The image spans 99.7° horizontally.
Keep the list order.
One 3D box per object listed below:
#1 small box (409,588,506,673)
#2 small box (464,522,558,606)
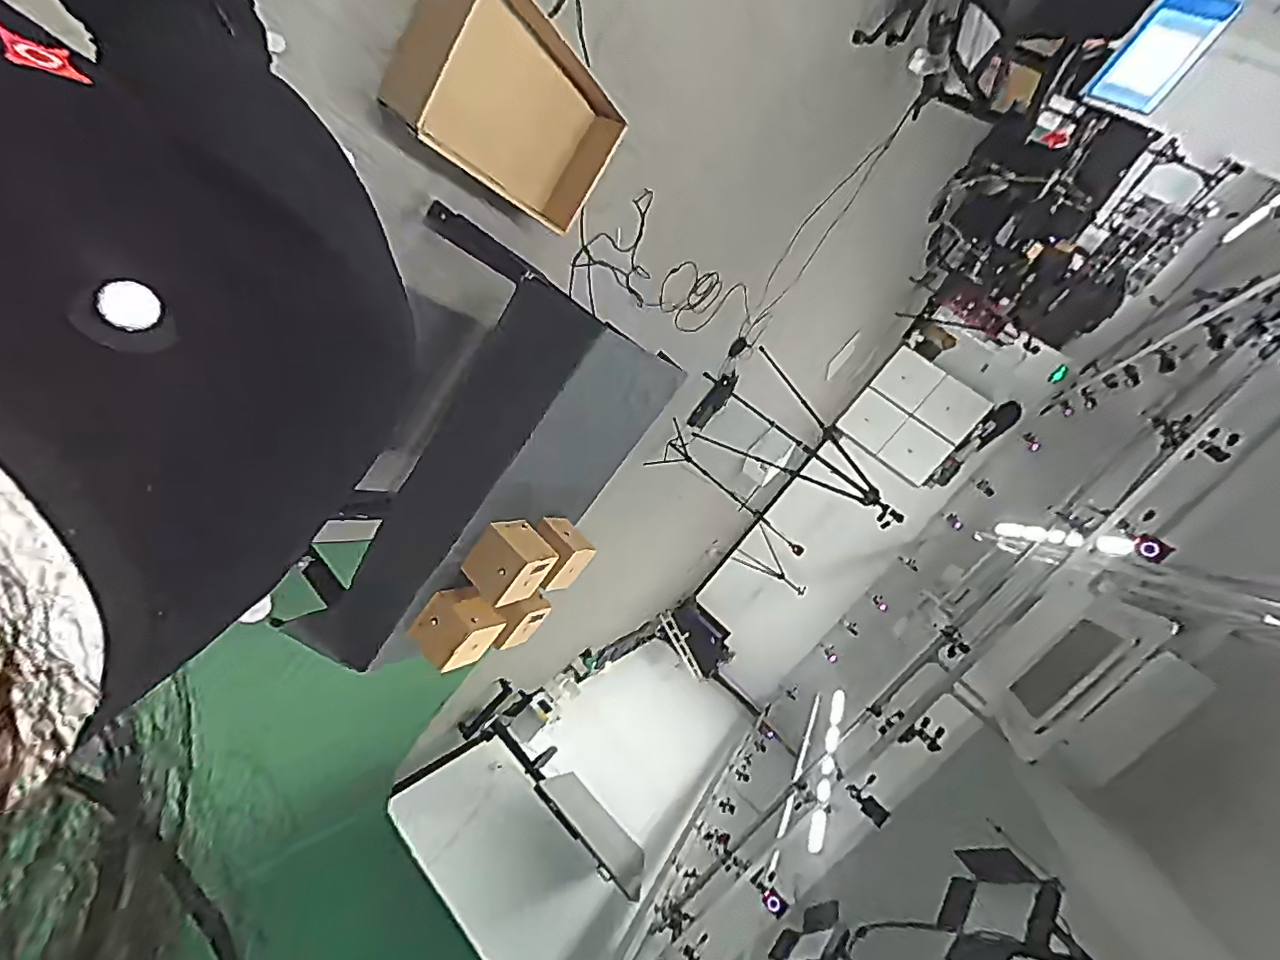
[{"bbox_3d":[-0.544,0.439,1.617,0.168,0.176,0.179,-52,161,9],"label":"small box"},{"bbox_3d":[-0.382,0.236,1.583,0.179,0.176,0.168,-54,161,15],"label":"small box"}]
